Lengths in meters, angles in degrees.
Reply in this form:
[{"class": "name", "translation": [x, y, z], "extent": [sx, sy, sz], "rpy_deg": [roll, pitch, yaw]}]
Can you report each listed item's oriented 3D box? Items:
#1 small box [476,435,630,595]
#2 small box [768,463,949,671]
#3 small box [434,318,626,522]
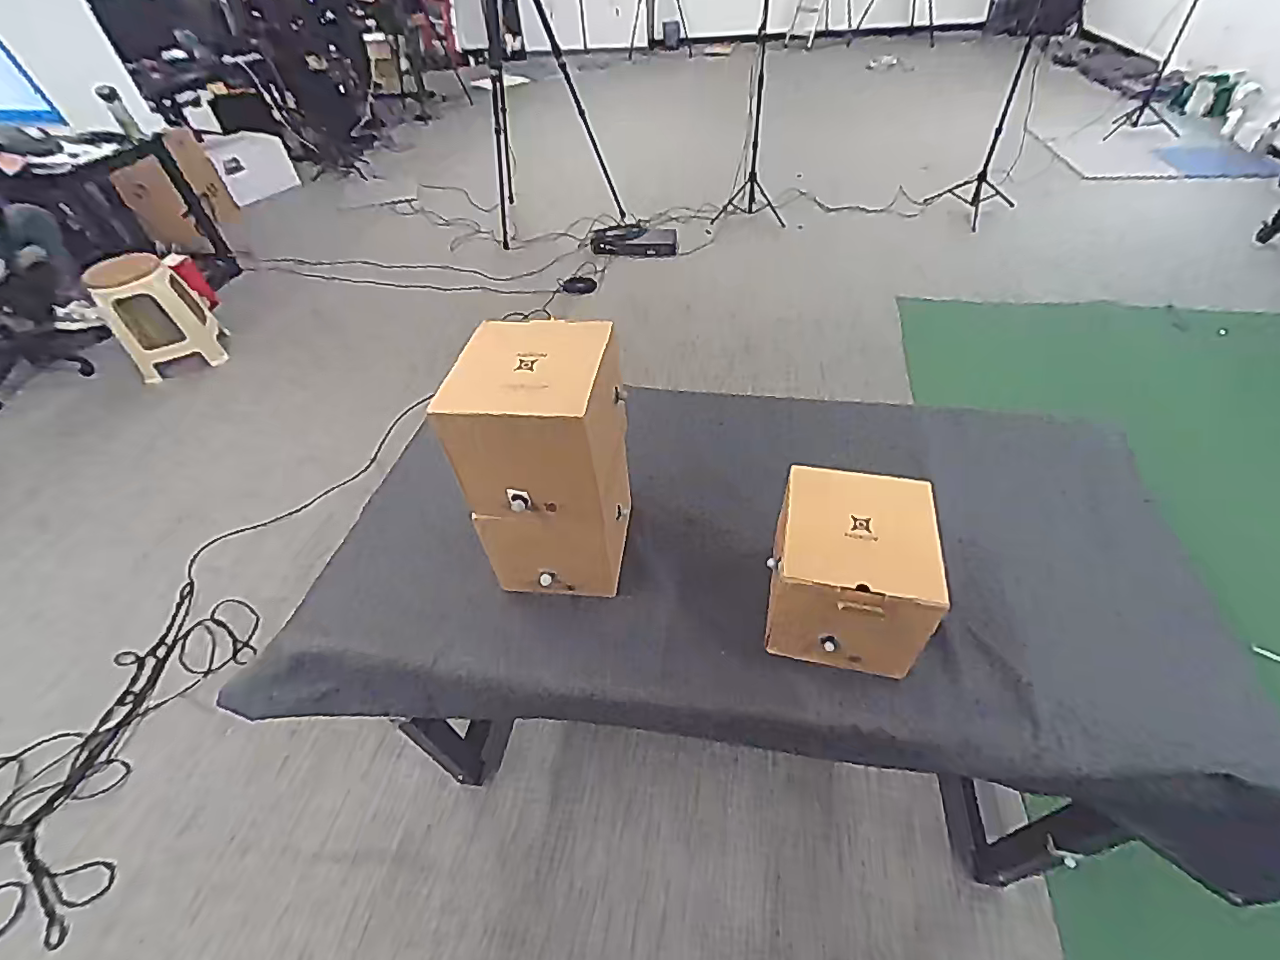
[{"class": "small box", "translation": [-0.107, 0.039, 0.762], "extent": [0.168, 0.176, 0.179], "rpy_deg": [2, 47, 7]}, {"class": "small box", "translation": [0.255, 0.106, 0.670], "extent": [0.168, 0.176, 0.179], "rpy_deg": [8, 47, 12]}, {"class": "small box", "translation": [-0.112, -0.073, 0.644], "extent": [0.168, 0.176, 0.179], "rpy_deg": [2, 47, 8]}]
